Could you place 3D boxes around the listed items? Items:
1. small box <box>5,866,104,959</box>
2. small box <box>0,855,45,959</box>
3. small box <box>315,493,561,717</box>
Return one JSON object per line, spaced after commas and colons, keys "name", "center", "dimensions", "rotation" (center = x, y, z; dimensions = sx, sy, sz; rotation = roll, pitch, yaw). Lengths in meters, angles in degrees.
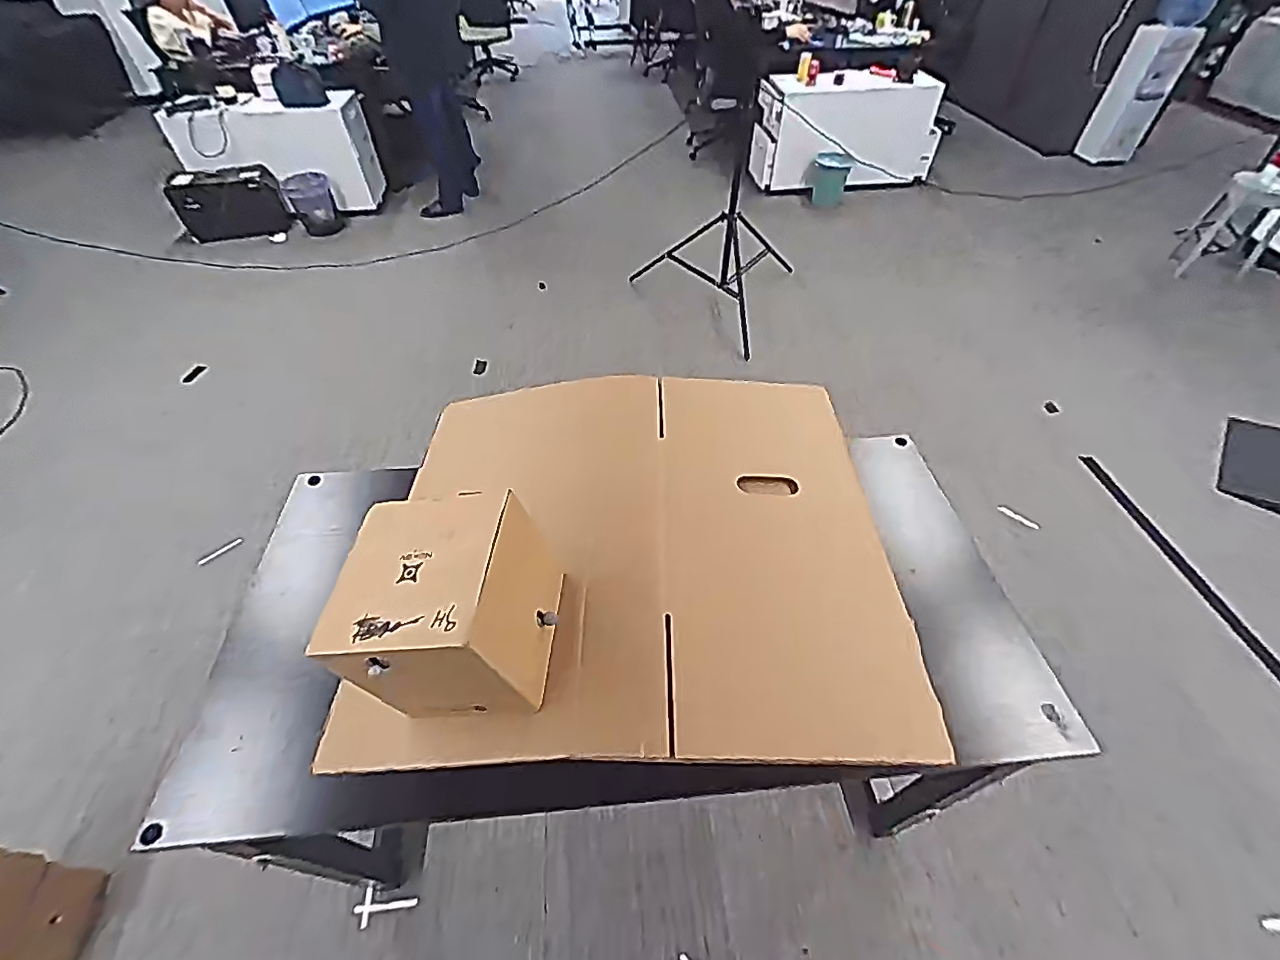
{"name": "small box", "center": [-1.263, 0.914, 1.098], "dimensions": [0.168, 0.176, 0.179], "rotation": [-7, 49, -6]}
{"name": "small box", "center": [-1.267, 0.801, 0.981], "dimensions": [0.168, 0.176, 0.179], "rotation": [-9, 47, -9]}
{"name": "small box", "center": [-0.196, 0.139, 0.589], "dimensions": [0.168, 0.176, 0.179], "rotation": [-7, 47, 12]}
